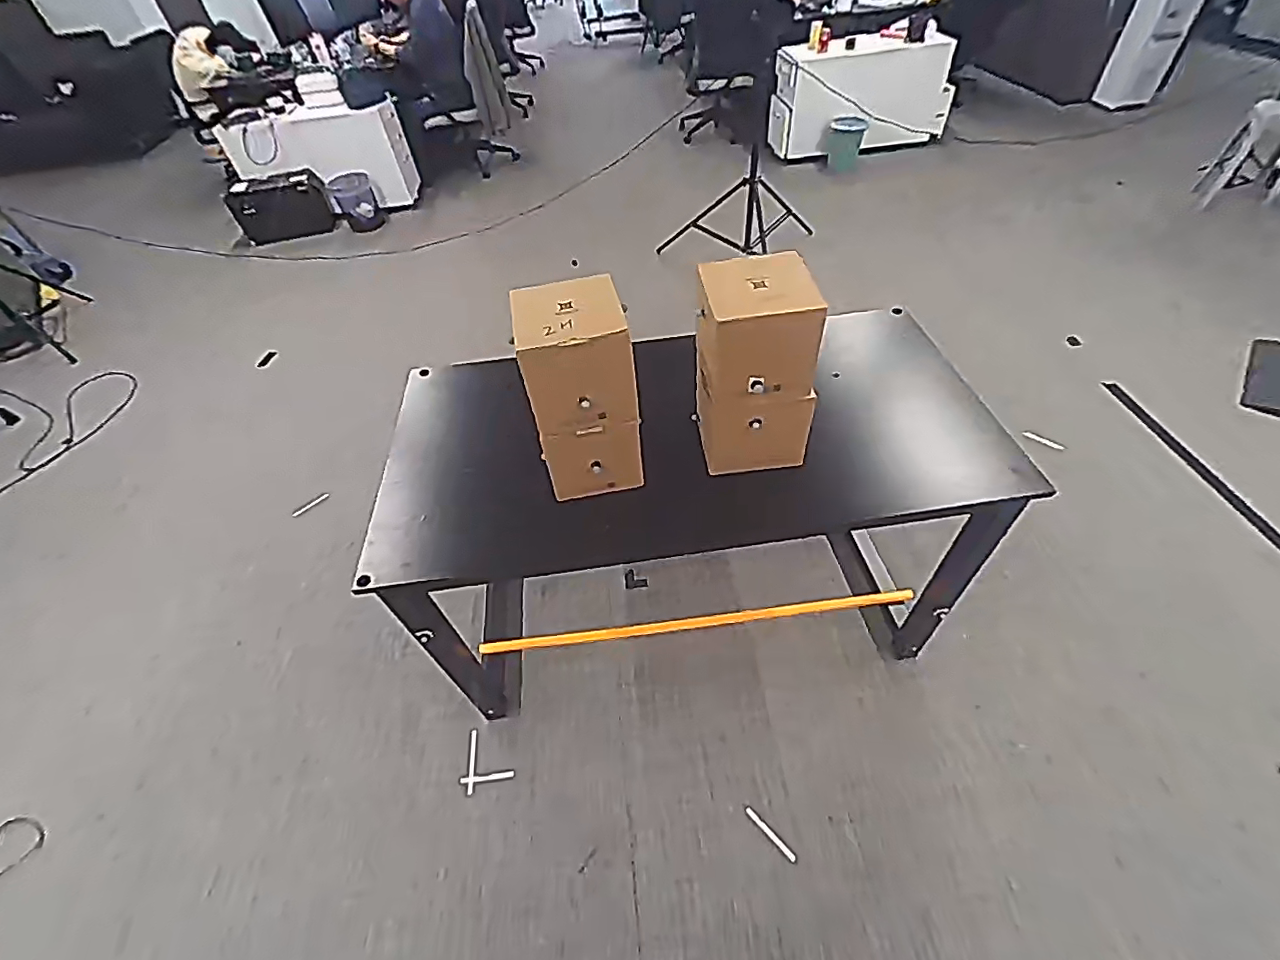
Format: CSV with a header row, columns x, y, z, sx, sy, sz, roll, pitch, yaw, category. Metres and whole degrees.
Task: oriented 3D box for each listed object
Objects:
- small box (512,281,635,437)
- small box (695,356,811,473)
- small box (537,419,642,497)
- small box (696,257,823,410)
x,y,z,sx,sy,sz,roll,pitch,yaw,category
-0.108,-0.197,0.887,0.168,0.176,0.179,-12,48,-4,small box
0.201,-0.127,1.013,0.179,0.176,0.168,-6,48,0,small box
-0.095,-0.084,1.008,0.168,0.176,0.179,-11,49,-4,small box
0.185,-0.241,0.898,0.168,0.176,0.179,-8,49,0,small box
